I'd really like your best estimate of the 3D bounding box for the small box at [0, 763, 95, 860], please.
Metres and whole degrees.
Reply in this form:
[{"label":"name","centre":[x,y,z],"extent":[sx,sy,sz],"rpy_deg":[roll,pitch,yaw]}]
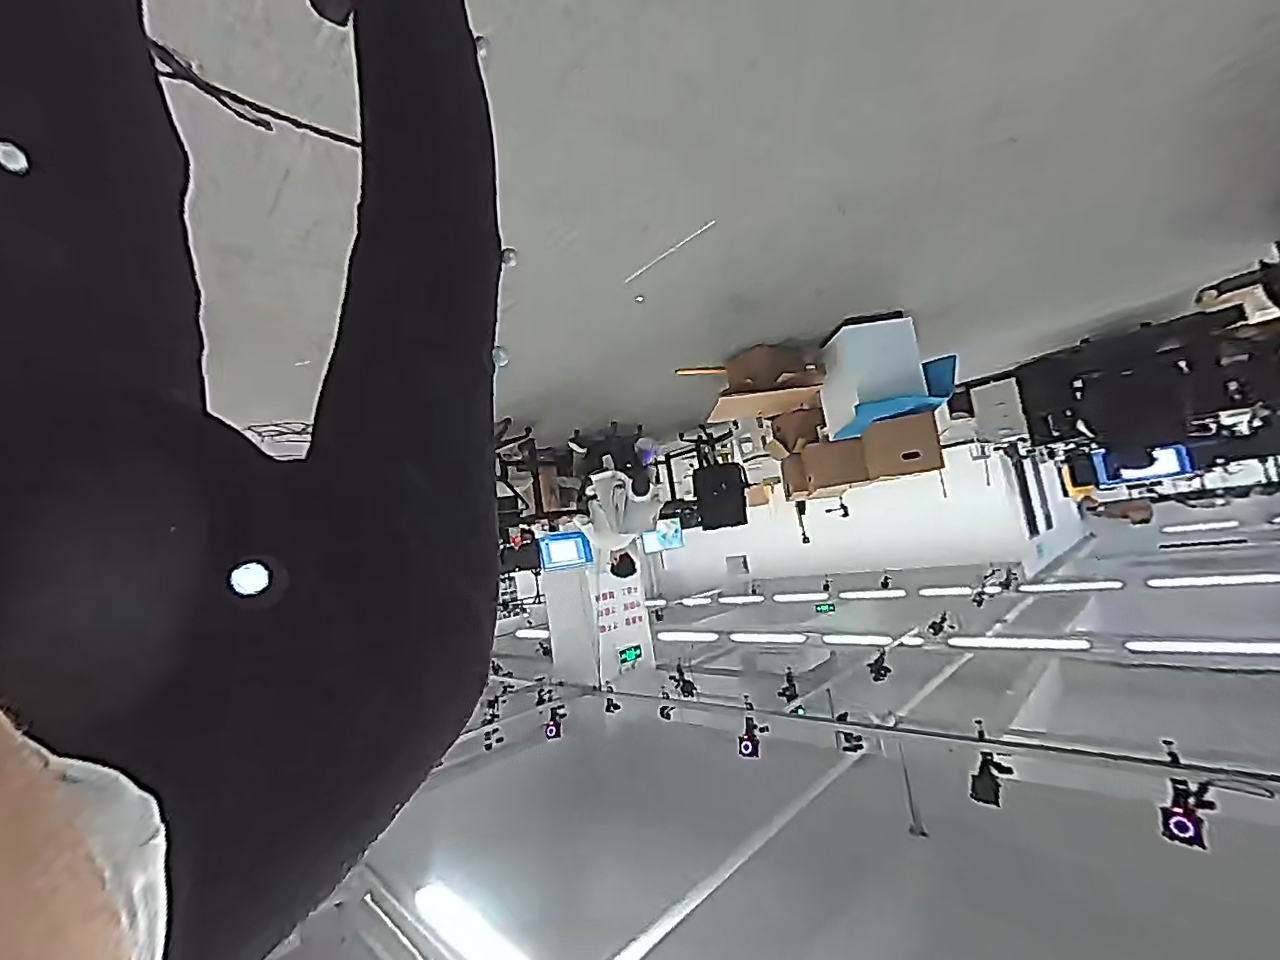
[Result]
[{"label":"small box","centre":[-1.687,0.926,1.536],"extent":[0.179,0.176,0.168],"rpy_deg":[-4,172,-40]}]
